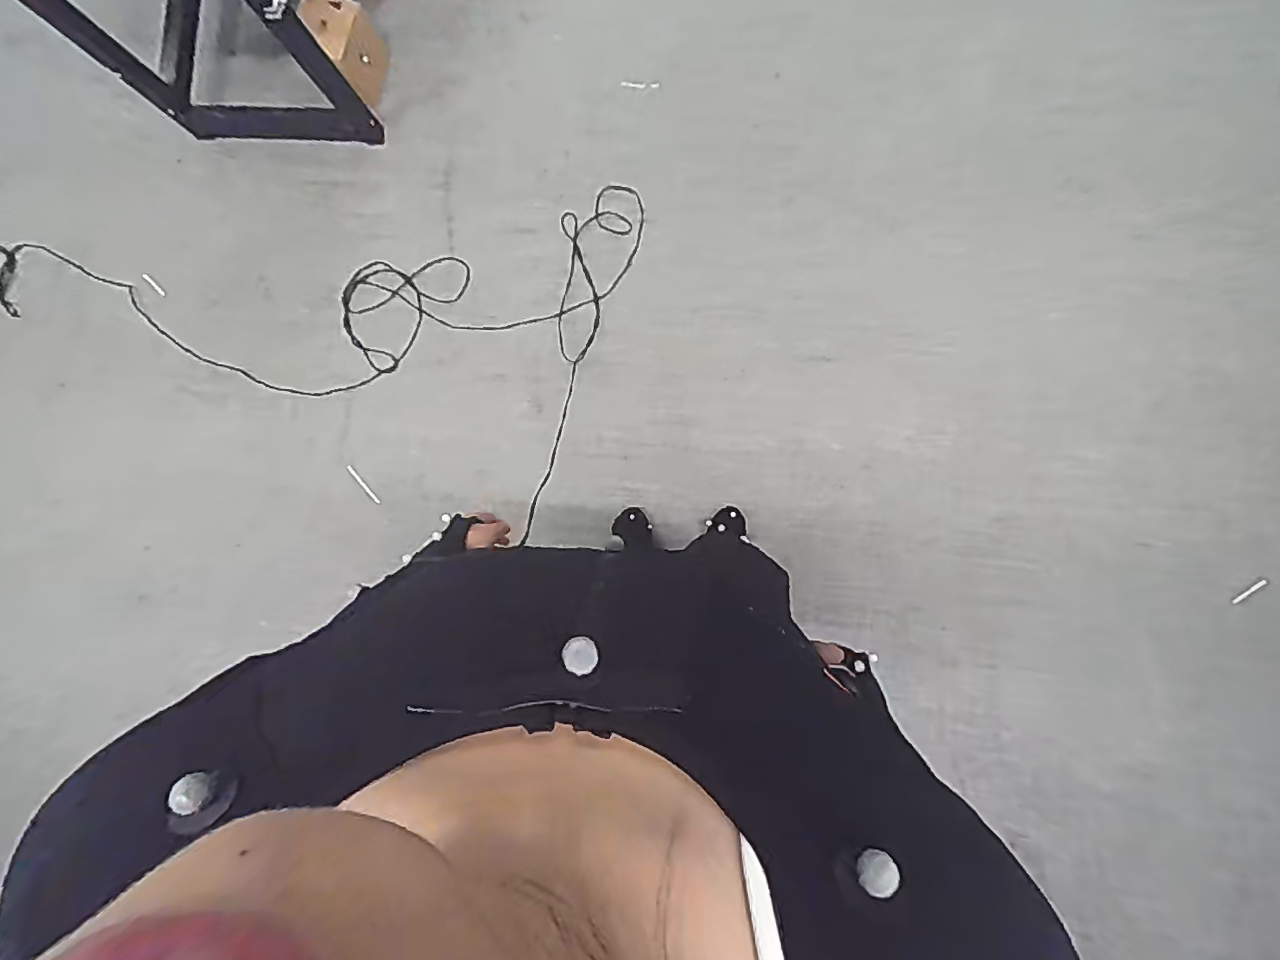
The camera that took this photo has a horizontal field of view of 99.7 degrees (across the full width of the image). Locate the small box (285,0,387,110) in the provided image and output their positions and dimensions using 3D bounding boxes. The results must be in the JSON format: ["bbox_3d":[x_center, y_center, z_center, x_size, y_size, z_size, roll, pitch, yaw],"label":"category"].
[{"bbox_3d":[-0.843,-1.190,1.519,0.168,0.176,0.179,16,89,3],"label":"small box"}]
